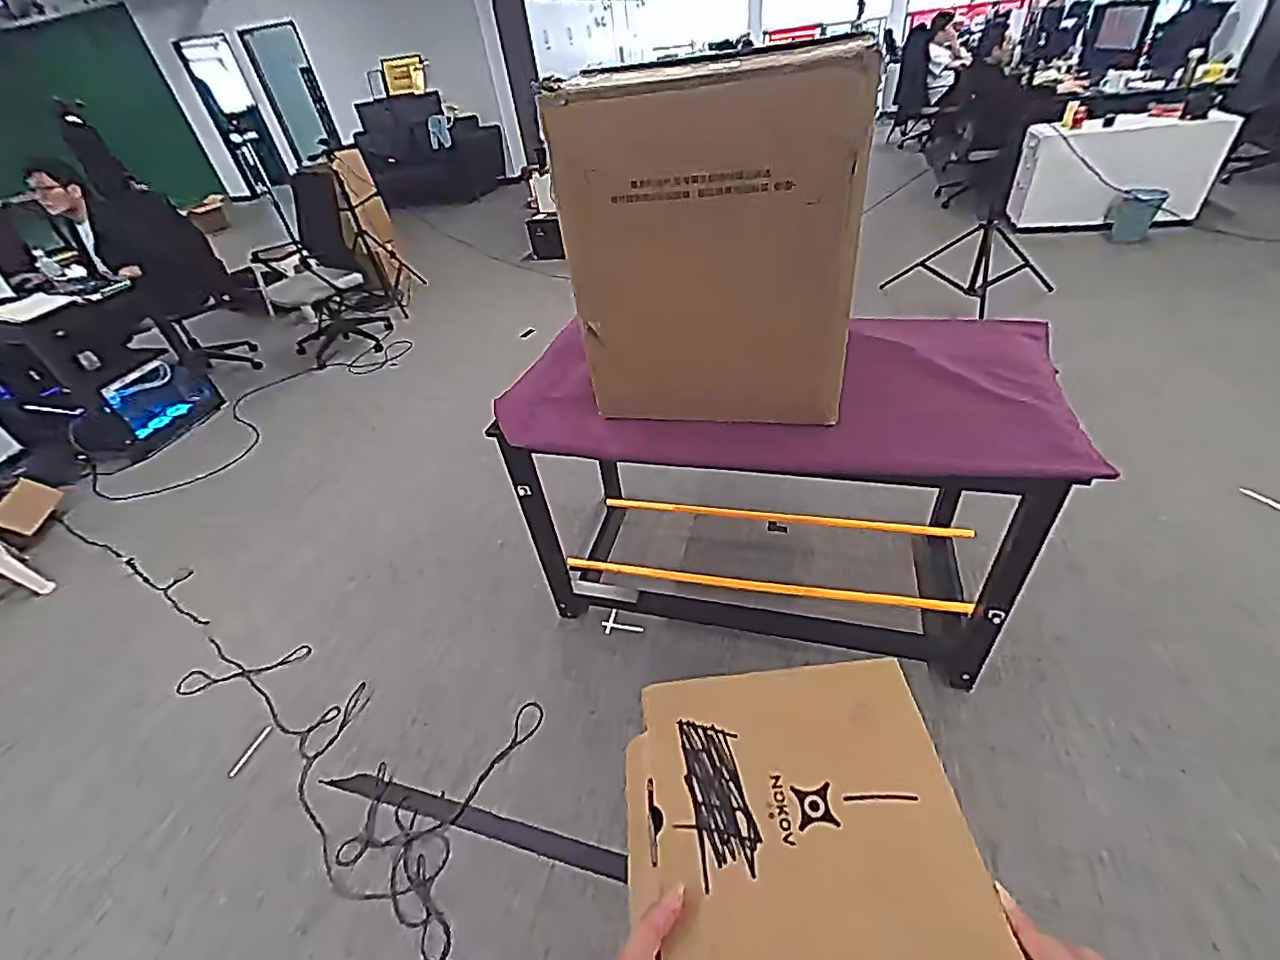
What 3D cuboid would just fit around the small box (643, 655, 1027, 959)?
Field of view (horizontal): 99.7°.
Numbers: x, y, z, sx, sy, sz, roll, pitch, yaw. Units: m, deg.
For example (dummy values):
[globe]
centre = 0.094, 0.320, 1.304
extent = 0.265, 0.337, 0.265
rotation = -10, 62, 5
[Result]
[small box]
centre = 0.102, 0.241, 0.364
extent = 0.179, 0.176, 0.168
rotation = -7, 43, 3
